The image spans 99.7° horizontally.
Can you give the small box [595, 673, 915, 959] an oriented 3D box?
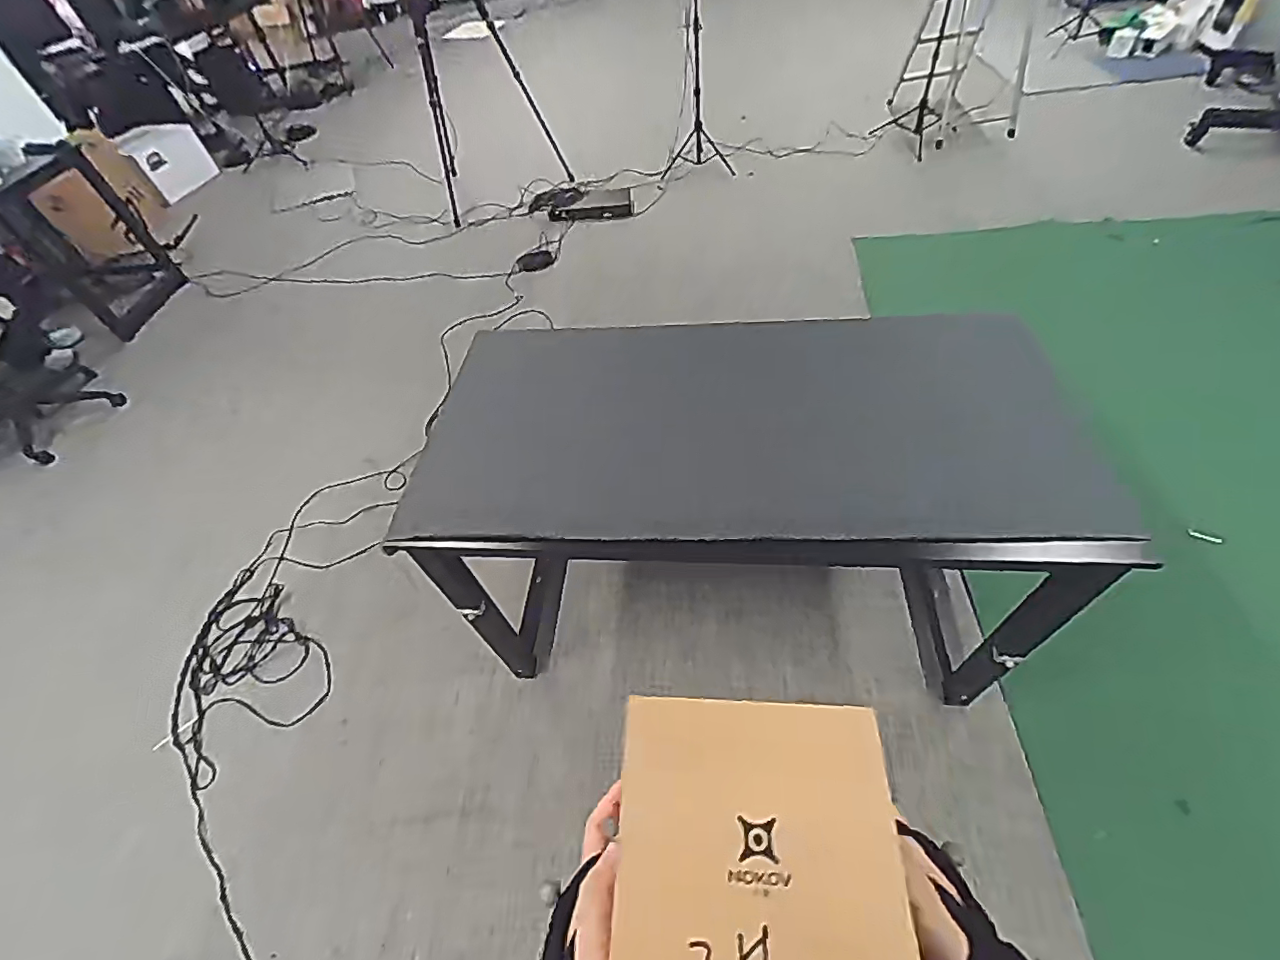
[{"bbox_3d":[0.067,0.251,0.374,0.168,0.176,0.179,1,54,6],"label":"small box"}]
